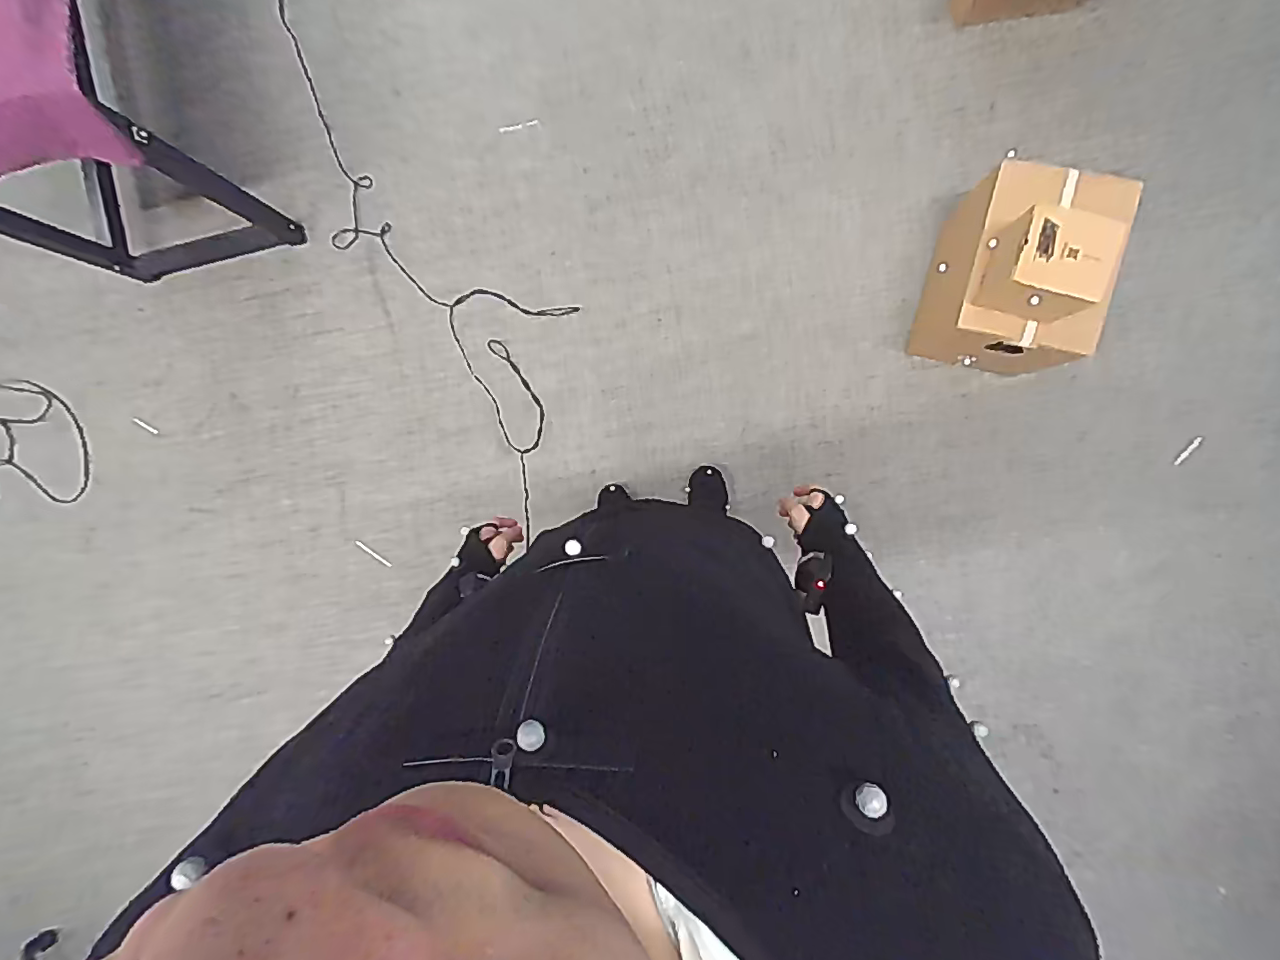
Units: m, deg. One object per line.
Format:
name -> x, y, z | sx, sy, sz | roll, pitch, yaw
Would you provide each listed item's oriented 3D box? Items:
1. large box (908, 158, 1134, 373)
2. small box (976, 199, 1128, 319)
large box -> 0.943, -0.521, 1.390 | 0.320, 0.320, 0.408 | 14, 92, 4
small box -> 0.860, -0.460, 1.152 | 0.179, 0.176, 0.168 | 18, 94, 5
